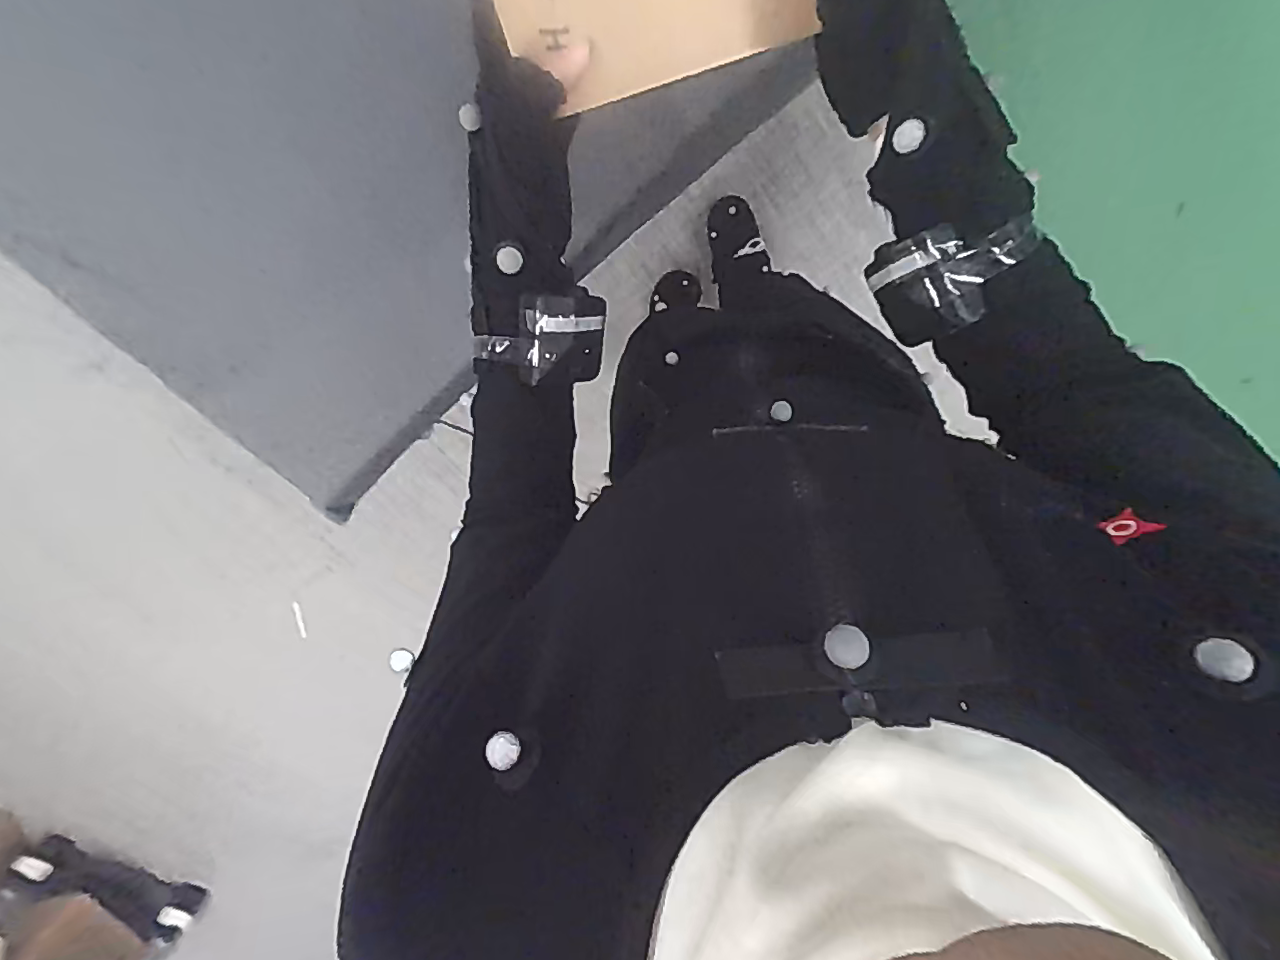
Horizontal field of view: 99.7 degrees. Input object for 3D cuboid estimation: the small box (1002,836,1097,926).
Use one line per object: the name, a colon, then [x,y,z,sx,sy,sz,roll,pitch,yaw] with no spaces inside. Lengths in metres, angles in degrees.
small box: [1.394,1.368,1.849,0.168,0.176,0.179,-38,107,16]

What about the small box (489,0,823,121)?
small box: [-0.006,-0.339,0.312,0.179,0.176,0.168,-12,132,6]
